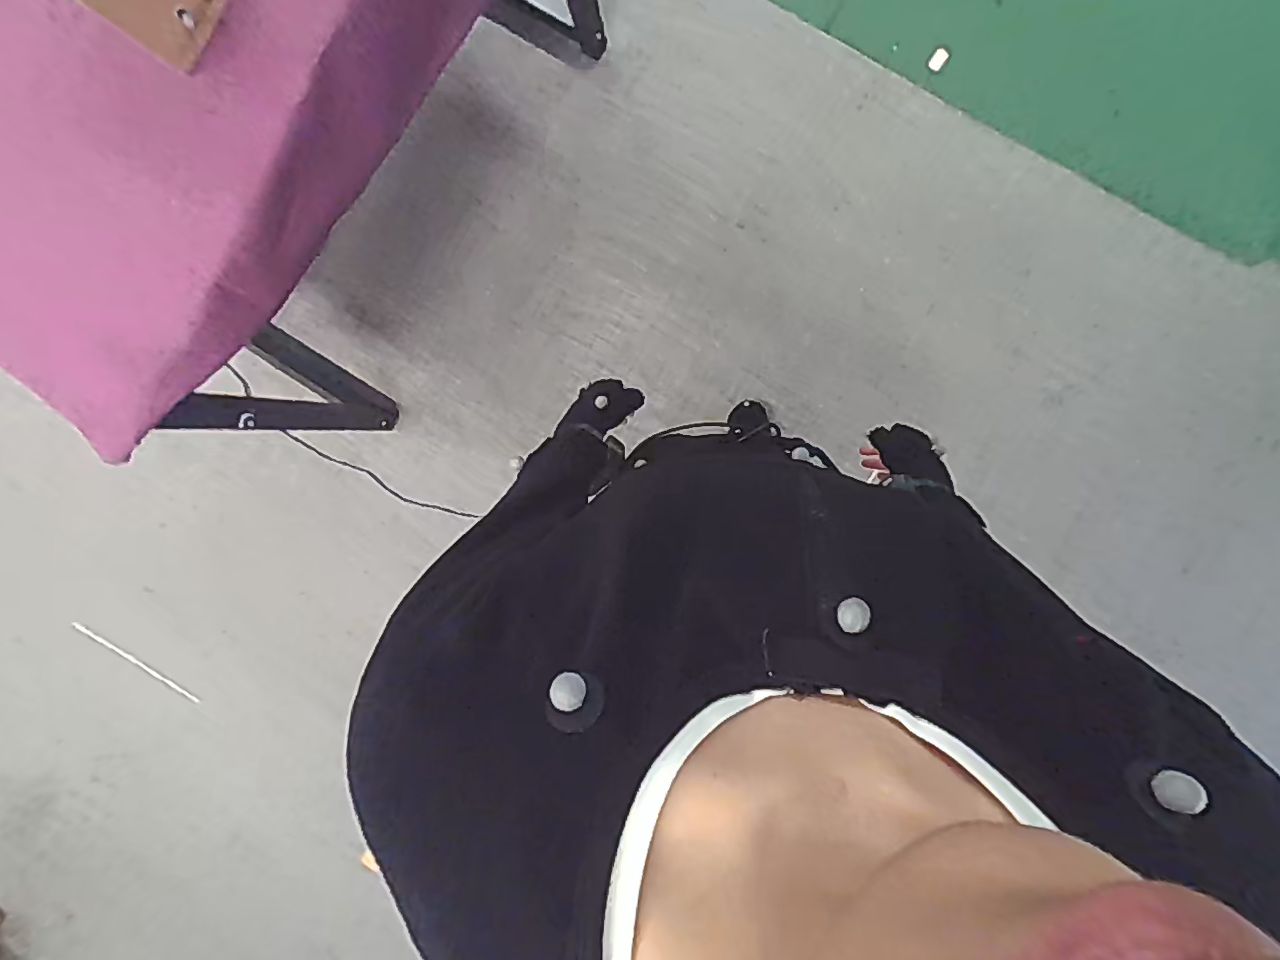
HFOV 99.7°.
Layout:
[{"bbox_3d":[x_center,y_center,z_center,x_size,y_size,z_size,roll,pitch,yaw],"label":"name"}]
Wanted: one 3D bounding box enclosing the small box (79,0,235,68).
[{"bbox_3d":[-0.666,-0.678,0.678,0.179,0.176,0.168,37,99,1],"label":"small box"}]
